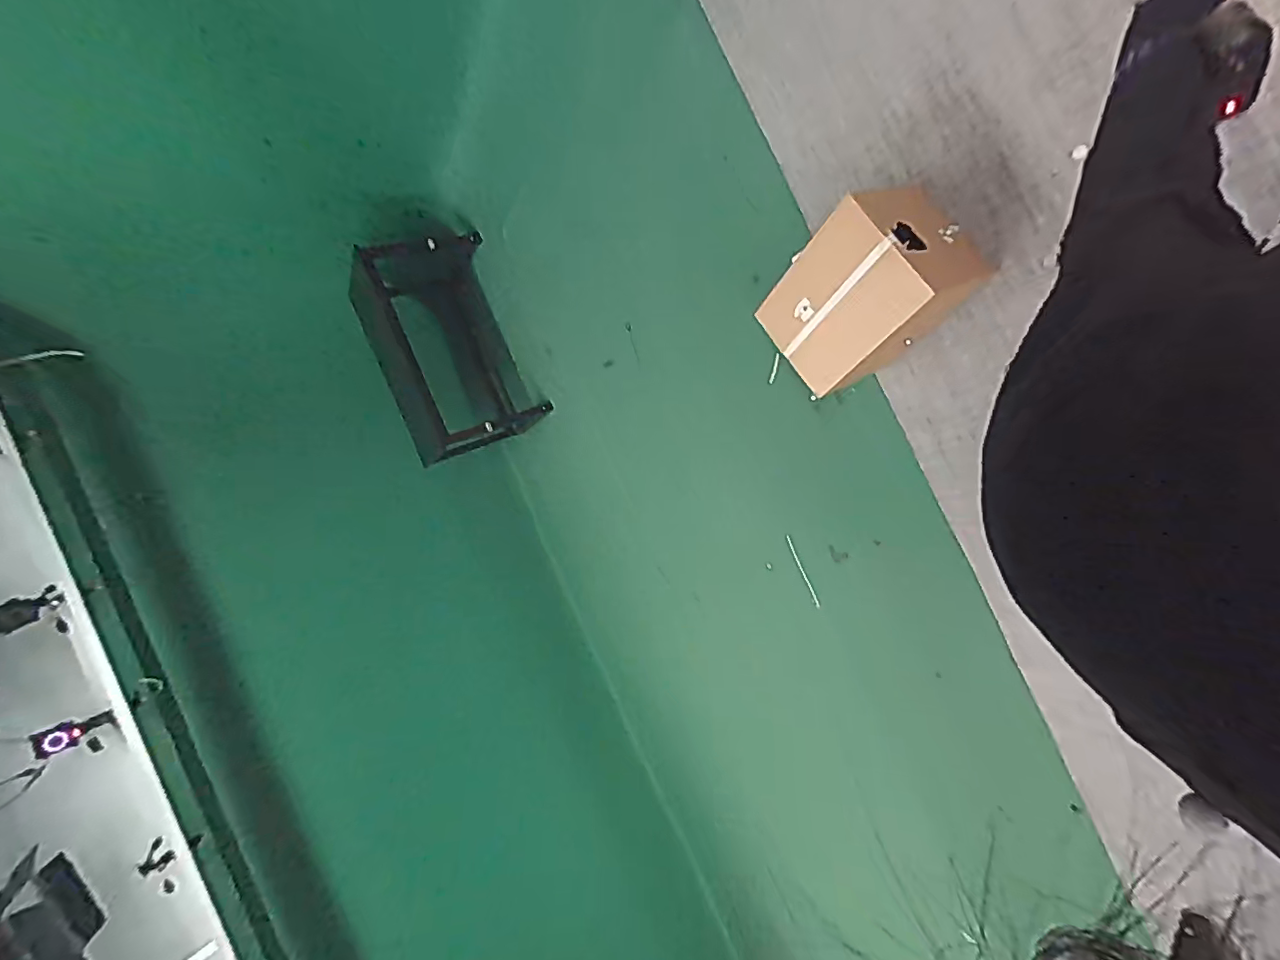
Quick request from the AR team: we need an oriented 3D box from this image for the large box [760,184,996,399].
[{"bbox_3d":[0.602,-0.487,1.417,0.320,0.320,0.408,58,148,13],"label":"large box"}]
